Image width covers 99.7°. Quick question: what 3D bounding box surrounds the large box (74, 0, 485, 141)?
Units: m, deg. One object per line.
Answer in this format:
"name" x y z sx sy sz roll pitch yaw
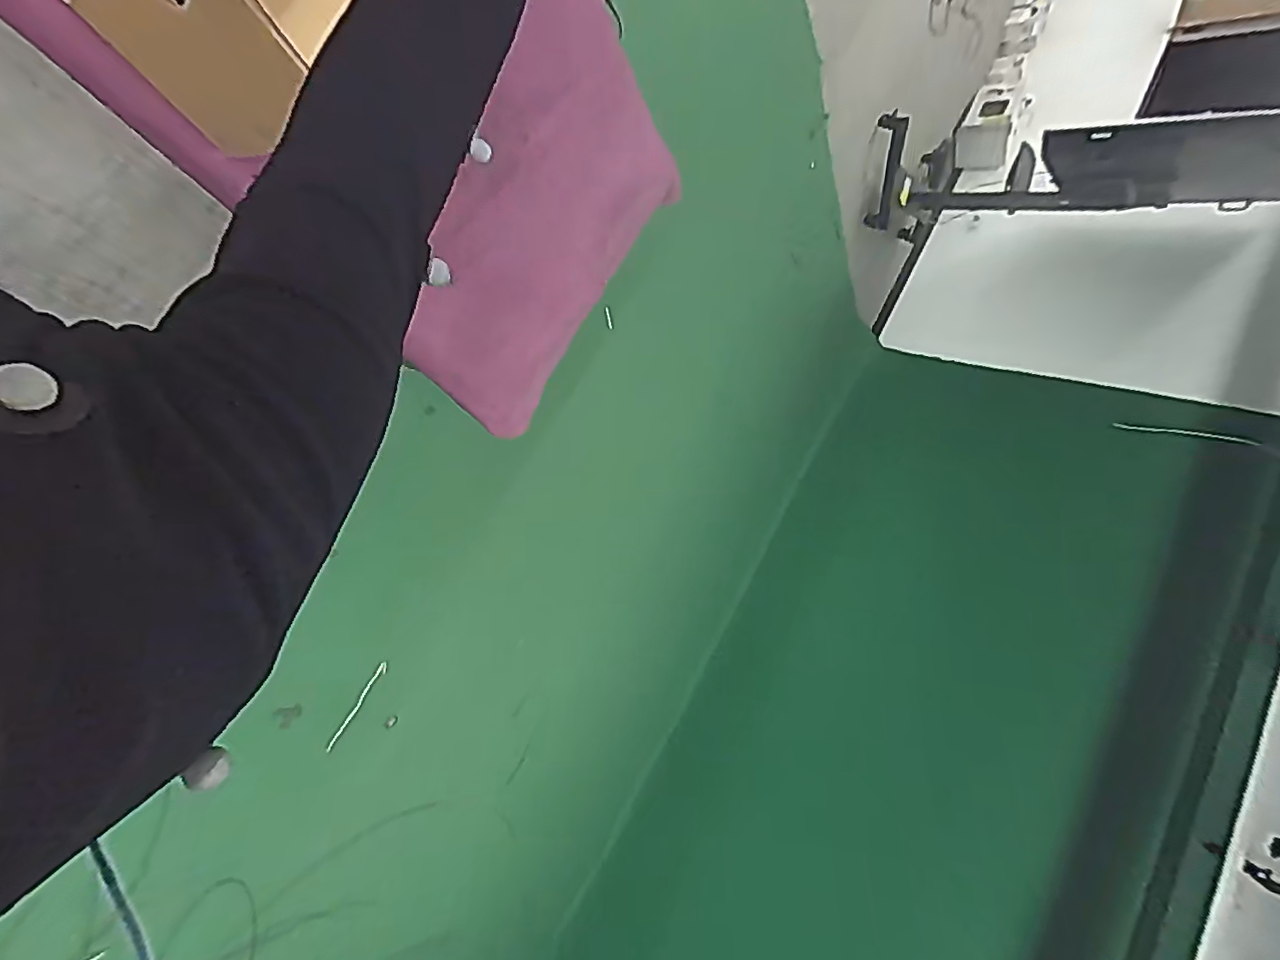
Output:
"large box" -0.293 -0.548 0.428 0.408 0.320 0.320 -57 144 -14
